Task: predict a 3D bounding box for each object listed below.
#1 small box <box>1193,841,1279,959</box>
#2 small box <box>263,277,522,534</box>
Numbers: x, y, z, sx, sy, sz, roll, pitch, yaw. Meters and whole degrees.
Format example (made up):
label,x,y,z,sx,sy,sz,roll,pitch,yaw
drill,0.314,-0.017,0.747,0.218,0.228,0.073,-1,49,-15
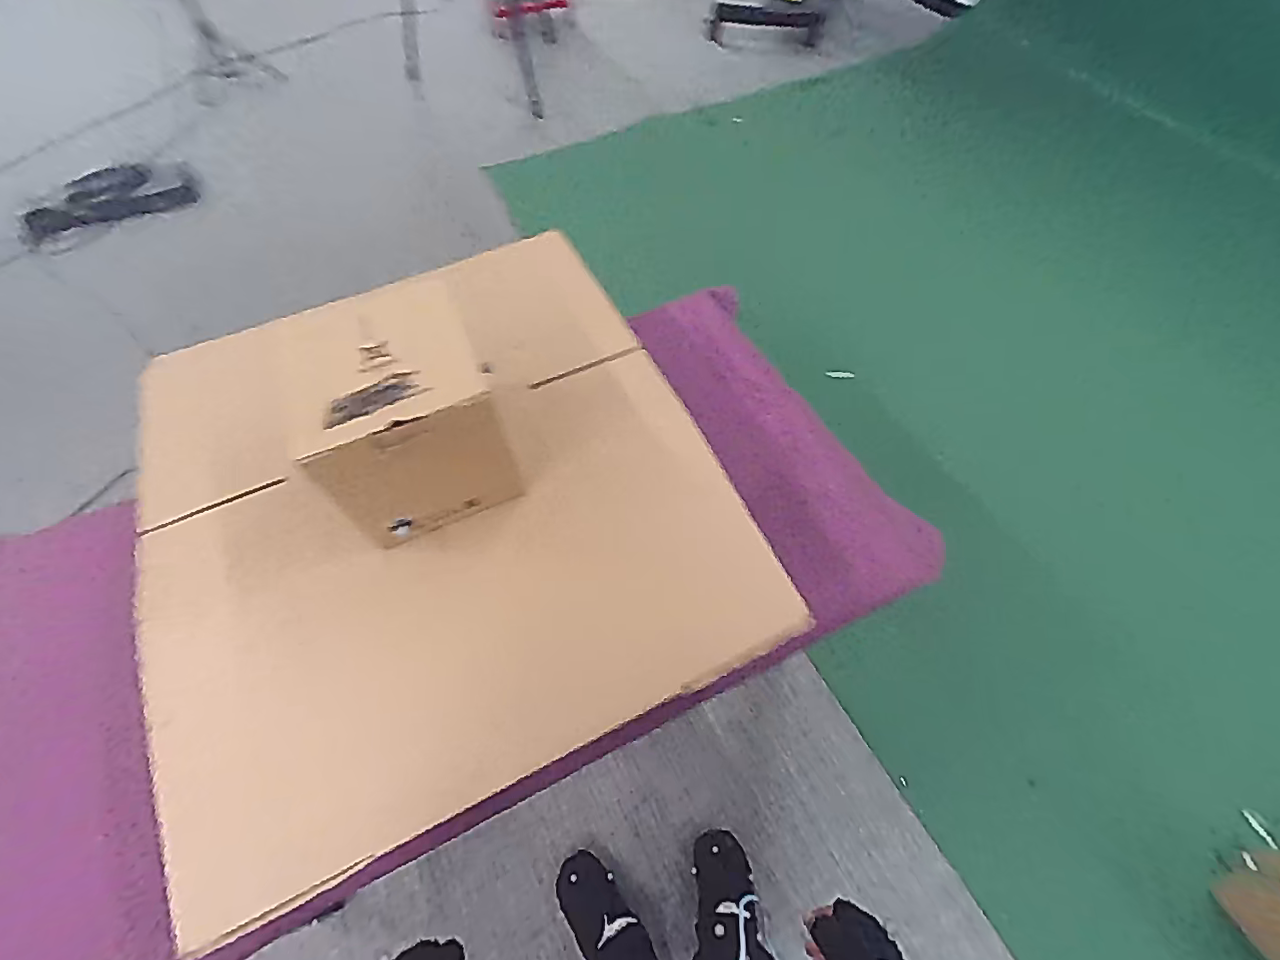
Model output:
label,x,y,z,sx,sy,sz,roll,pitch,yaw
small box,1.299,0.858,1.079,0.168,0.176,0.179,-24,63,-14
small box,-0.237,-0.065,0.553,0.168,0.176,0.179,-26,63,-14
